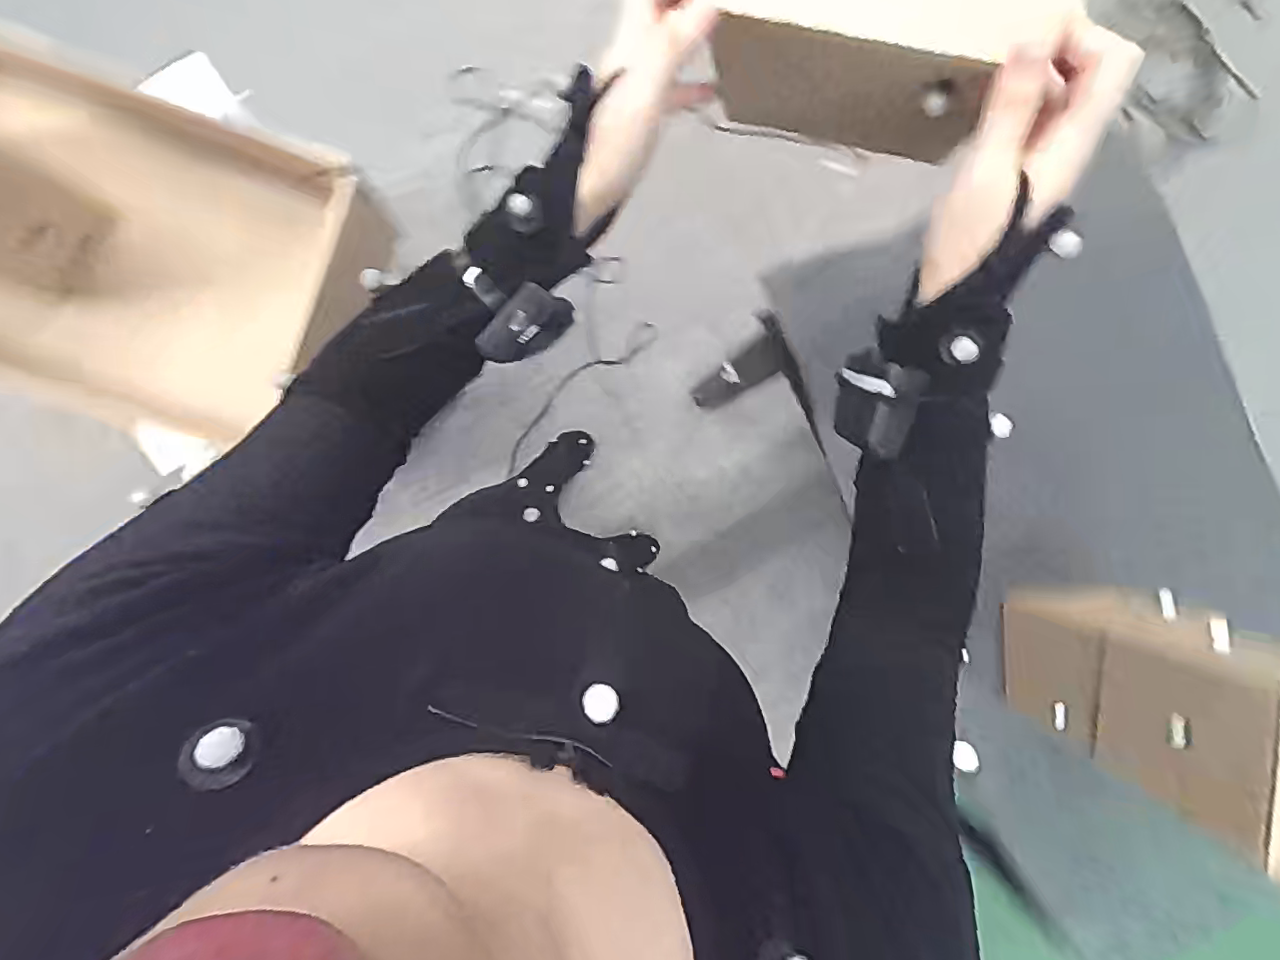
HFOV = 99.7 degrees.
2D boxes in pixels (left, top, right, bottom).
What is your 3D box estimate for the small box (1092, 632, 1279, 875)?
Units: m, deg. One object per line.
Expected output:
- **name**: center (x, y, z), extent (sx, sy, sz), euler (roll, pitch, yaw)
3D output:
- **small box**: center (0.636, 0.279, 0.579), extent (0.168, 0.176, 0.179), euler (5, 91, -6)
